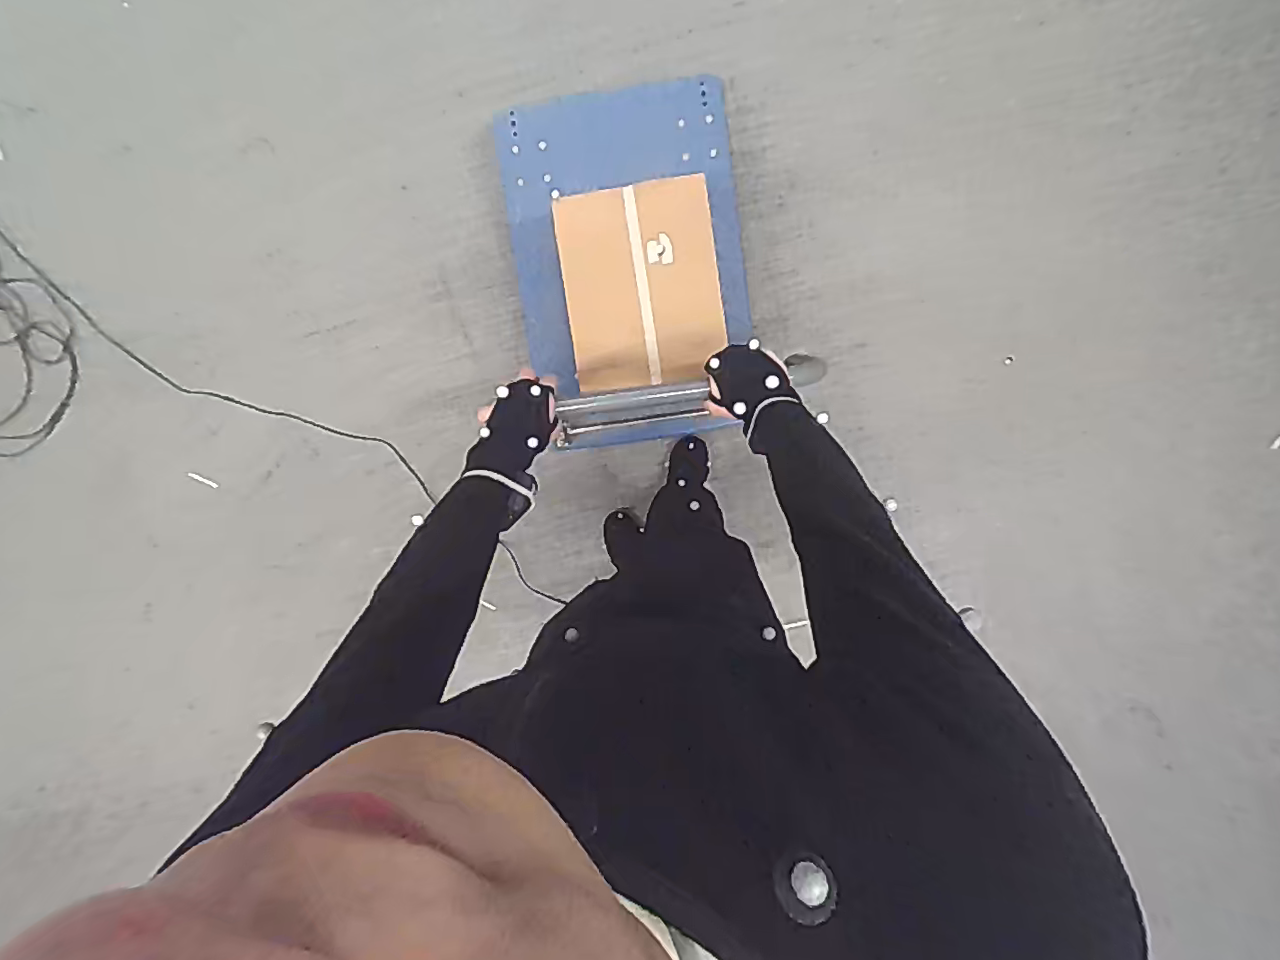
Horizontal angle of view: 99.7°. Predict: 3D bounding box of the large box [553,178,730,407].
[{"bbox_3d":[0.010,-0.398,1.251,0.320,0.320,0.408,-8,93,2],"label":"large box"}]
